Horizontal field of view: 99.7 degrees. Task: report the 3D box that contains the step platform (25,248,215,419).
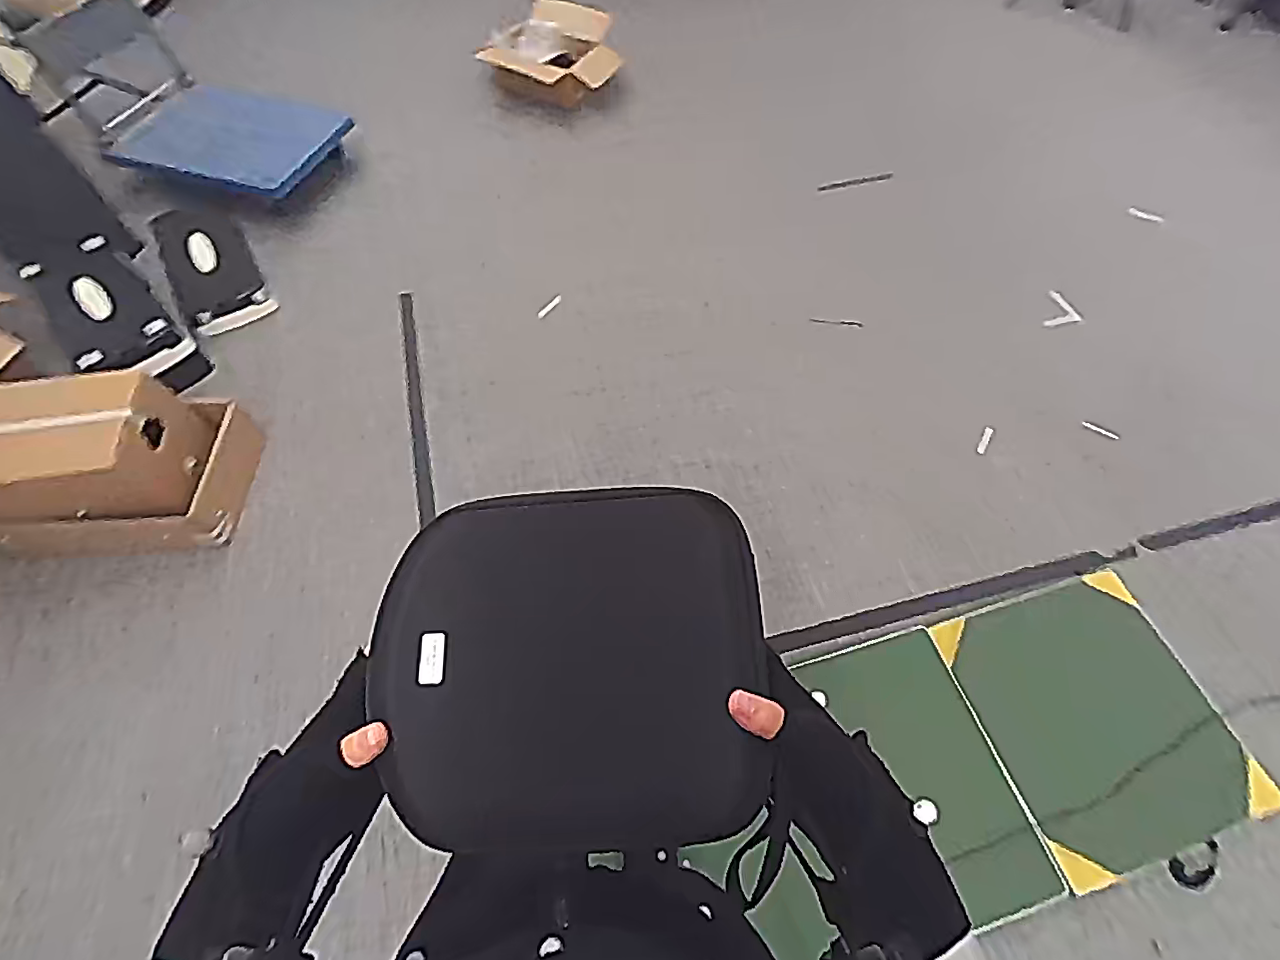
[{"bbox_3d":[-1.783,-0.520,1.854,0.684,0.204,0.286,41,68,19],"label":"step platform"}]
